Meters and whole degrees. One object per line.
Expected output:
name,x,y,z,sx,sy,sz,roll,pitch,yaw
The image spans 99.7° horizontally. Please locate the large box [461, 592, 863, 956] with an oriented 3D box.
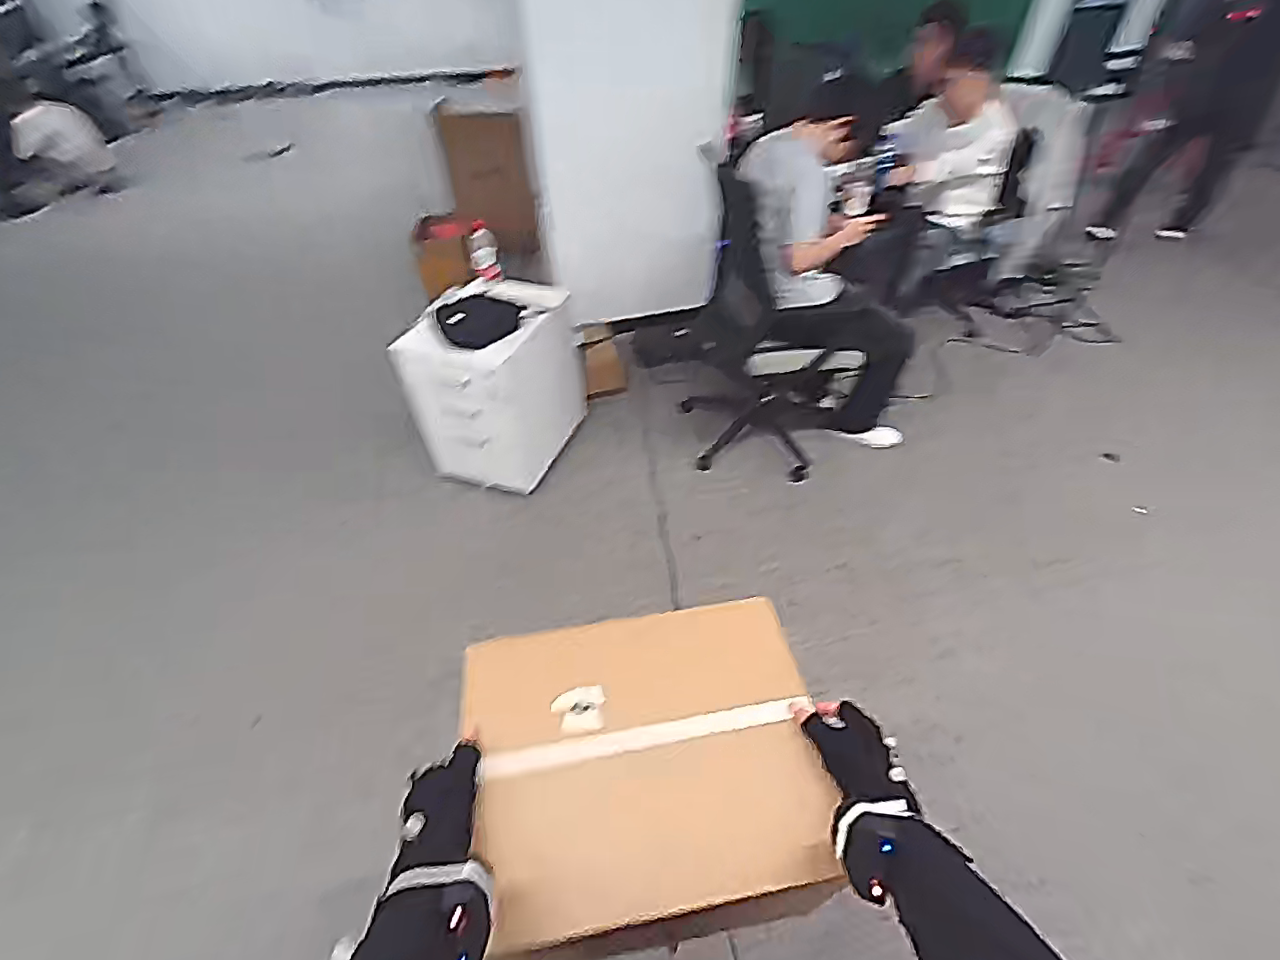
large box,0.011,0.392,0.727,0.408,0.320,0.320,-8,45,-5
